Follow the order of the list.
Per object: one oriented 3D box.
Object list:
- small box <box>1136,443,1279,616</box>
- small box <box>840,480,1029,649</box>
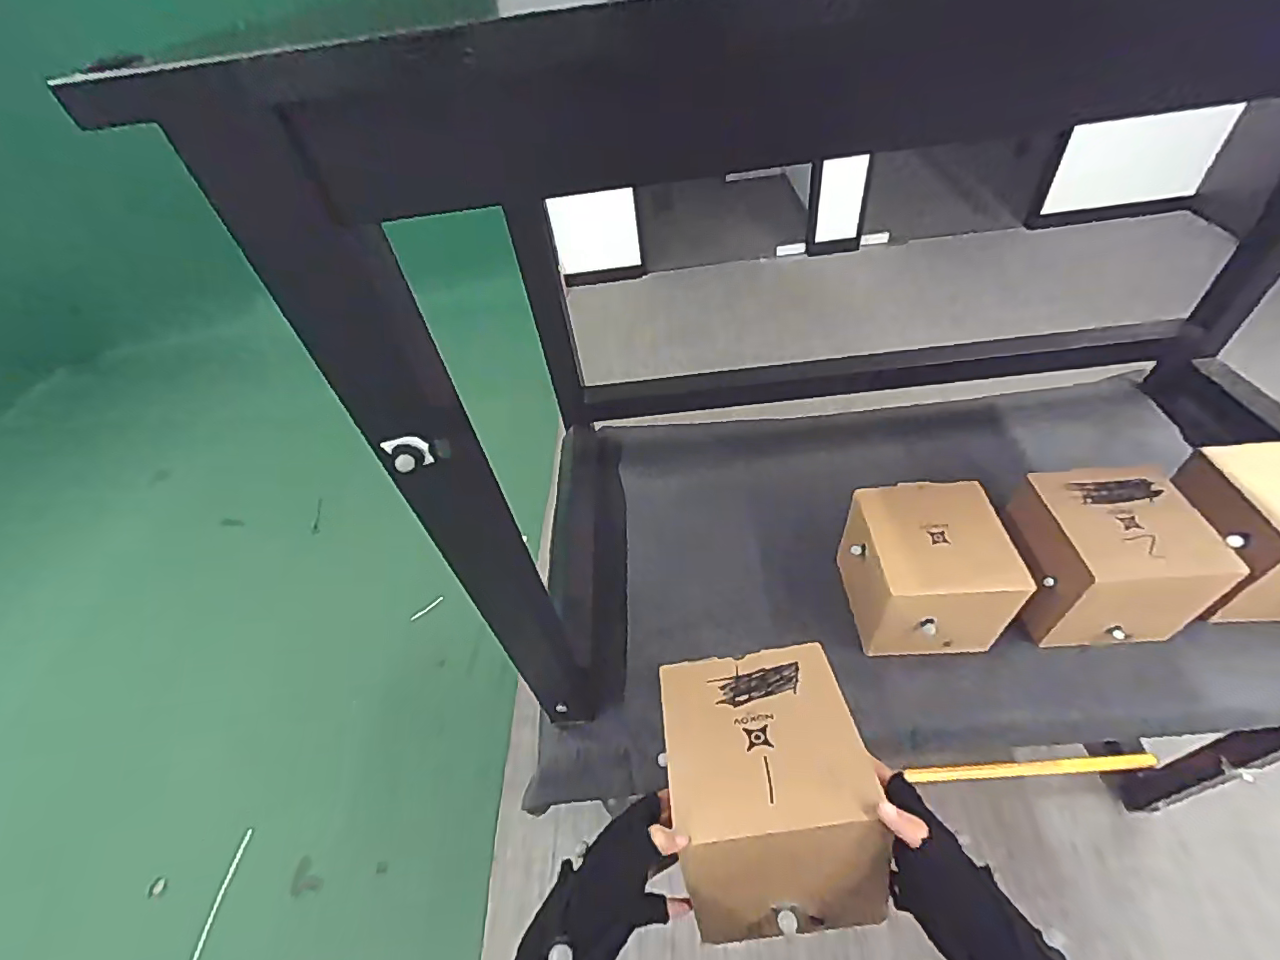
[{"bbox_3d":[0.836,0.071,0.722,0.168,0.176,0.179,-3,46,7],"label":"small box"},{"bbox_3d":[0.388,0.123,0.752,0.168,0.176,0.179,-5,46,6],"label":"small box"}]
